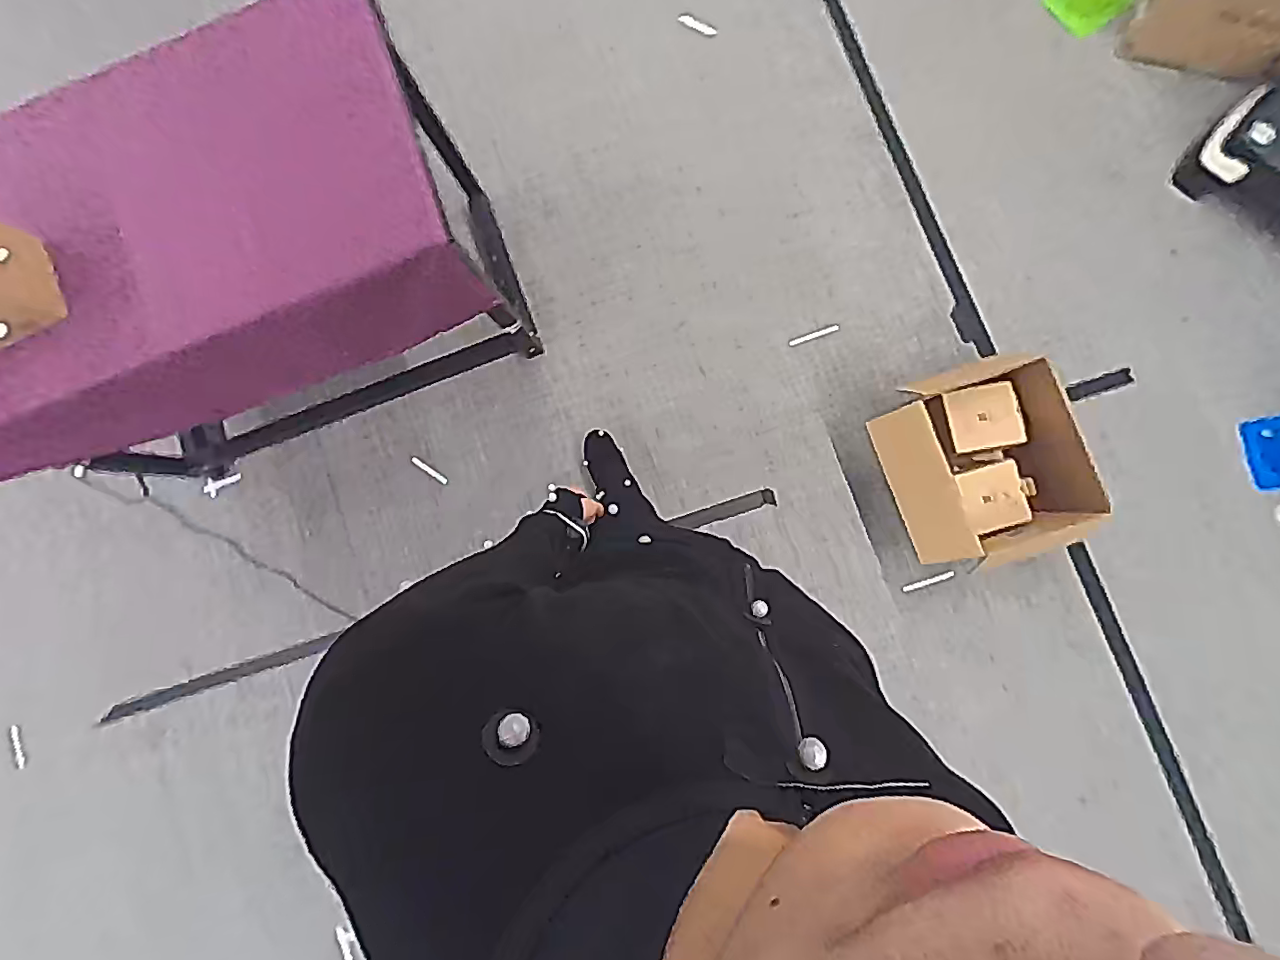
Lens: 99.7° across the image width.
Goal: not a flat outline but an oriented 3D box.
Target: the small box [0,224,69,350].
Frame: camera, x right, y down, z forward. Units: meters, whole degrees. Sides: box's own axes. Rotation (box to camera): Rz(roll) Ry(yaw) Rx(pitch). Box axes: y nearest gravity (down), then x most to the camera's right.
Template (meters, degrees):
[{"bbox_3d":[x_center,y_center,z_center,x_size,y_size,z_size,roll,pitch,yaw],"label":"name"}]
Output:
[{"bbox_3d":[-1.199,-0.360,0.964,0.168,0.176,0.179,-24,86,3],"label":"small box"}]
